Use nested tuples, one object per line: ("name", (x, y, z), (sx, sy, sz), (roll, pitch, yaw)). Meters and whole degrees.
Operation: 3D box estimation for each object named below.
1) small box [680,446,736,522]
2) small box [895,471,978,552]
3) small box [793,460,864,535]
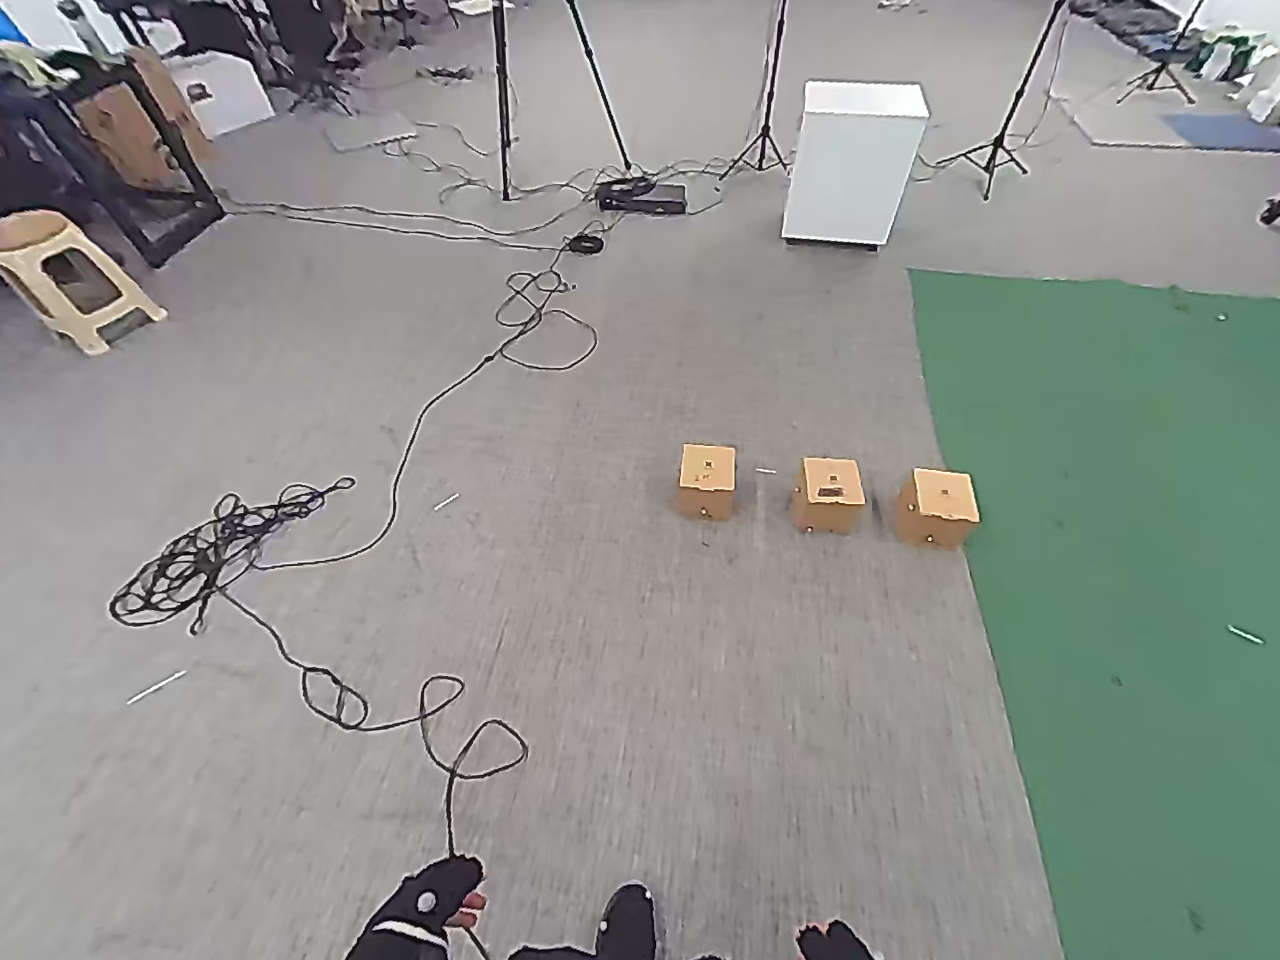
("small box", (0.218, 0.013, 1.746), (0.168, 0.176, 0.179), (5, 53, 6))
("small box", (0.907, 0.098, 1.672), (0.168, 0.176, 0.179), (7, 53, 8))
("small box", (0.588, 0.058, 1.707), (0.168, 0.176, 0.179), (4, 51, 4))
